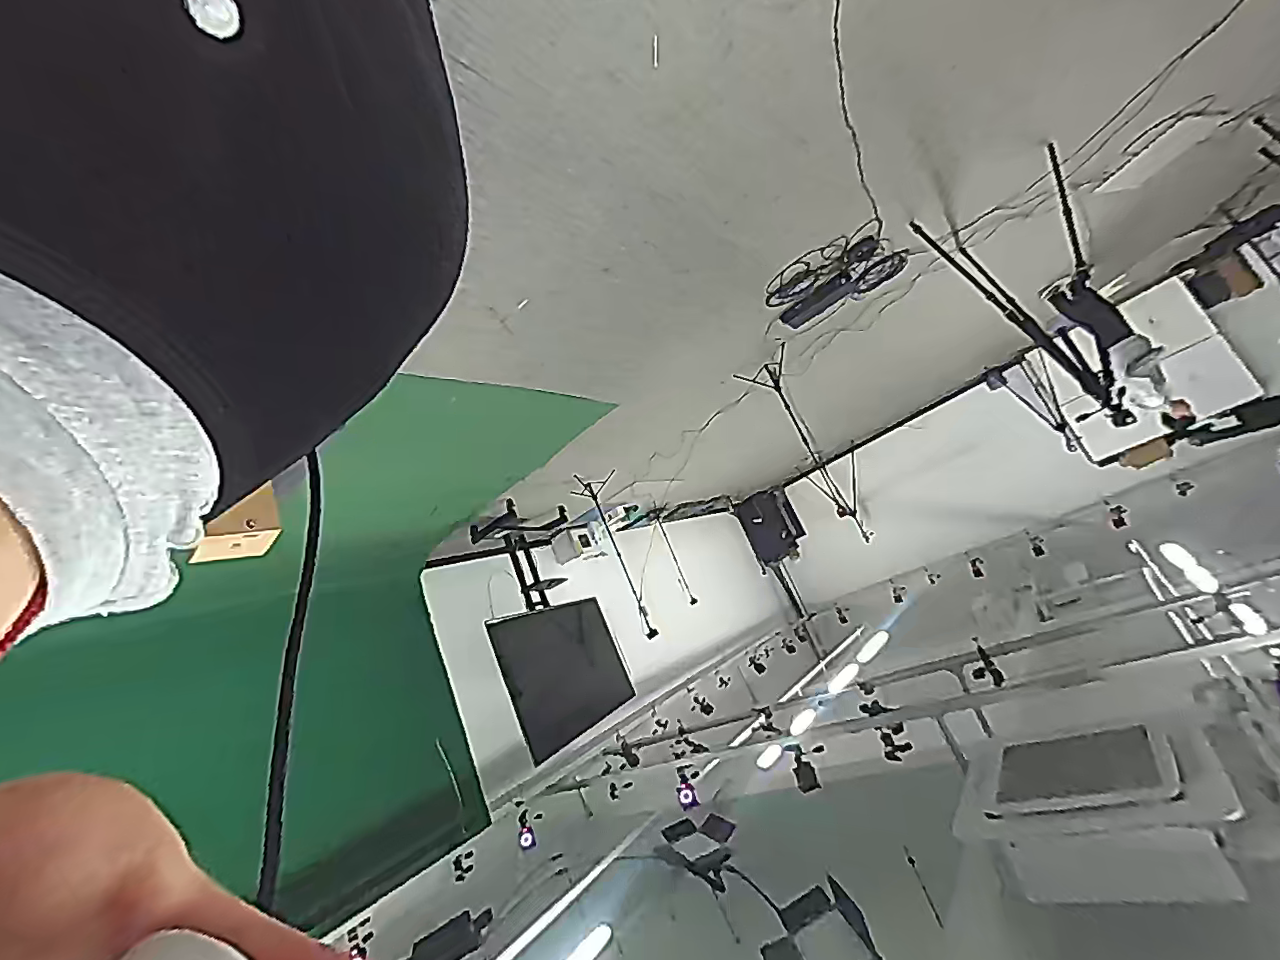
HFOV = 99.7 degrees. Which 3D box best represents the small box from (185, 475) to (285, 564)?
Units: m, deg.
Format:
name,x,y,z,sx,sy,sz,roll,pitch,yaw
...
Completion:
name,x,y,z,sx,sy,sz,roll,pitch,yaw
small box,-1.059,0.099,1.409,0.179,0.176,0.168,-33,164,36
